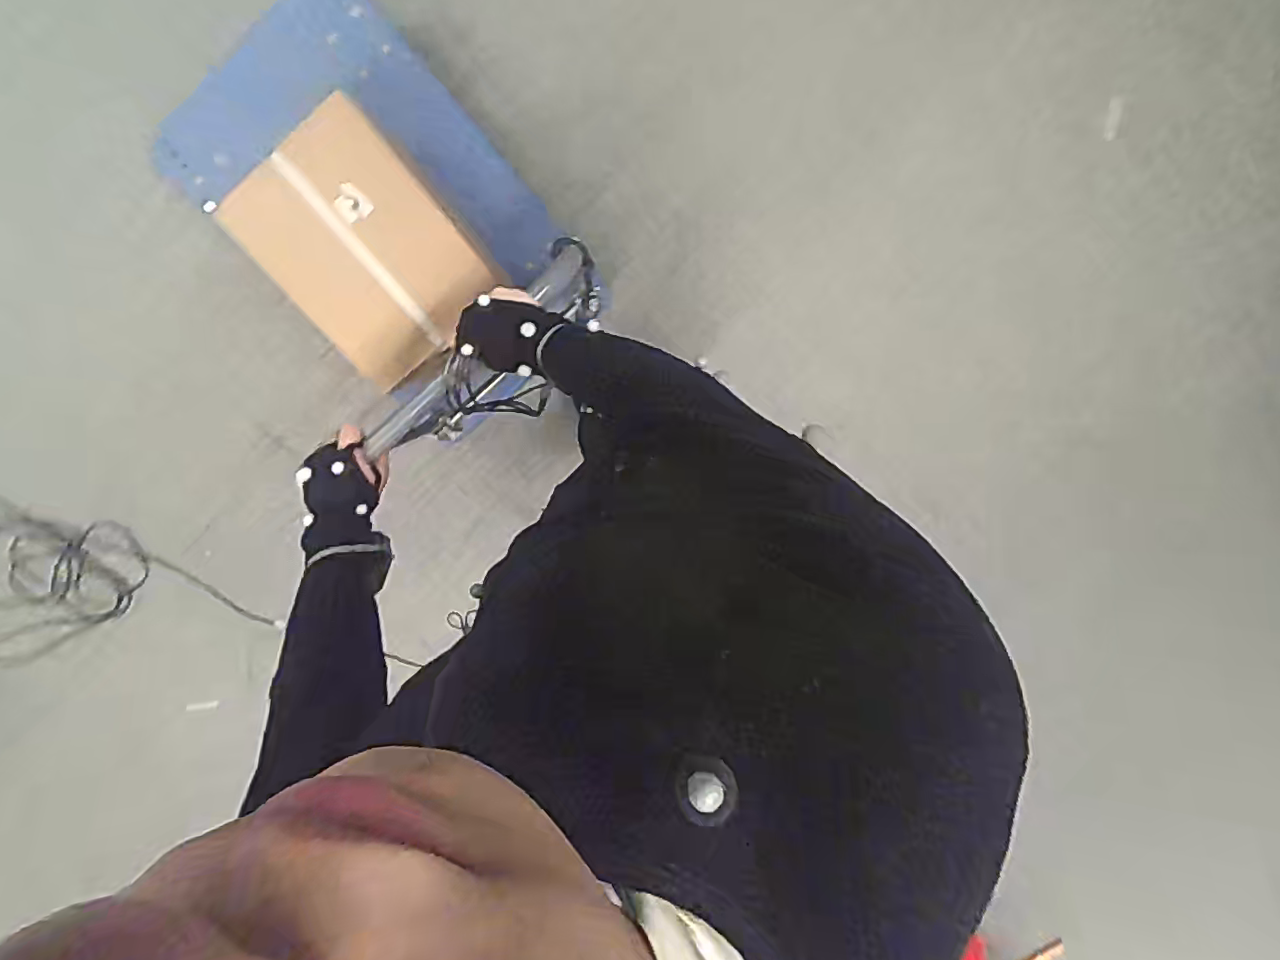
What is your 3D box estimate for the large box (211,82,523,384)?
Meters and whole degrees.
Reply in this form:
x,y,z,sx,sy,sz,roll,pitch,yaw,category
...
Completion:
x,y,z,sx,sy,sz,roll,pitch,yaw,category
-0.499,-0.457,1.092,0.320,0.320,0.408,-37,106,7,large box
